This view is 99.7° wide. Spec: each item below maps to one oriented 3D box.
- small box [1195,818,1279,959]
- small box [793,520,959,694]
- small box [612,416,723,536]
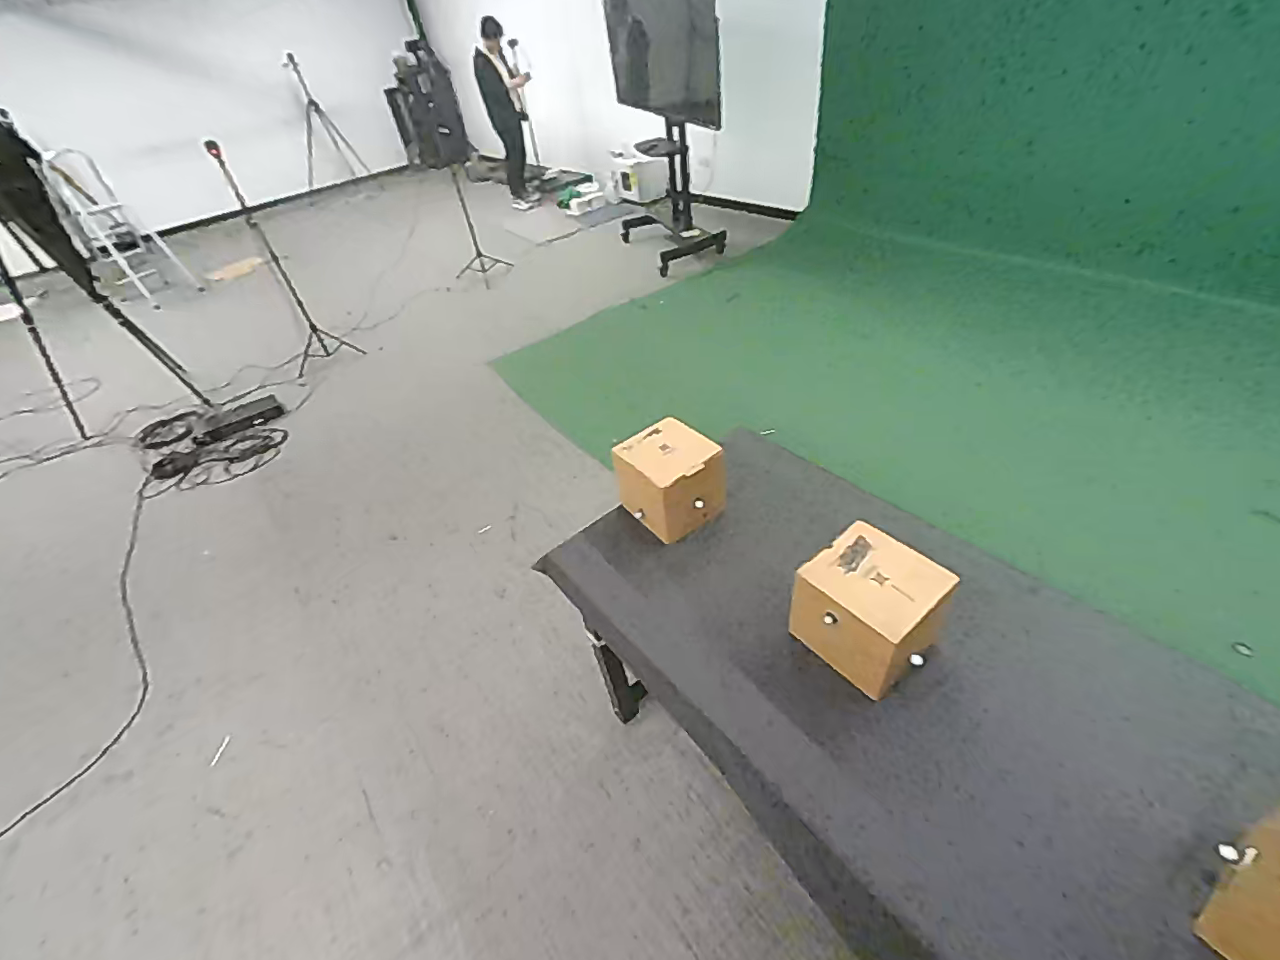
[{"bbox_3d":[0.718,0.449,0.525,0.168,0.176,0.179,-30,43,-23],"label":"small box"},{"bbox_3d":[0.366,0.204,0.871,0.168,0.176,0.179,-32,47,-23],"label":"small box"},{"bbox_3d":[0.064,-0.003,1.163,0.168,0.176,0.179,-30,46,-22],"label":"small box"}]
